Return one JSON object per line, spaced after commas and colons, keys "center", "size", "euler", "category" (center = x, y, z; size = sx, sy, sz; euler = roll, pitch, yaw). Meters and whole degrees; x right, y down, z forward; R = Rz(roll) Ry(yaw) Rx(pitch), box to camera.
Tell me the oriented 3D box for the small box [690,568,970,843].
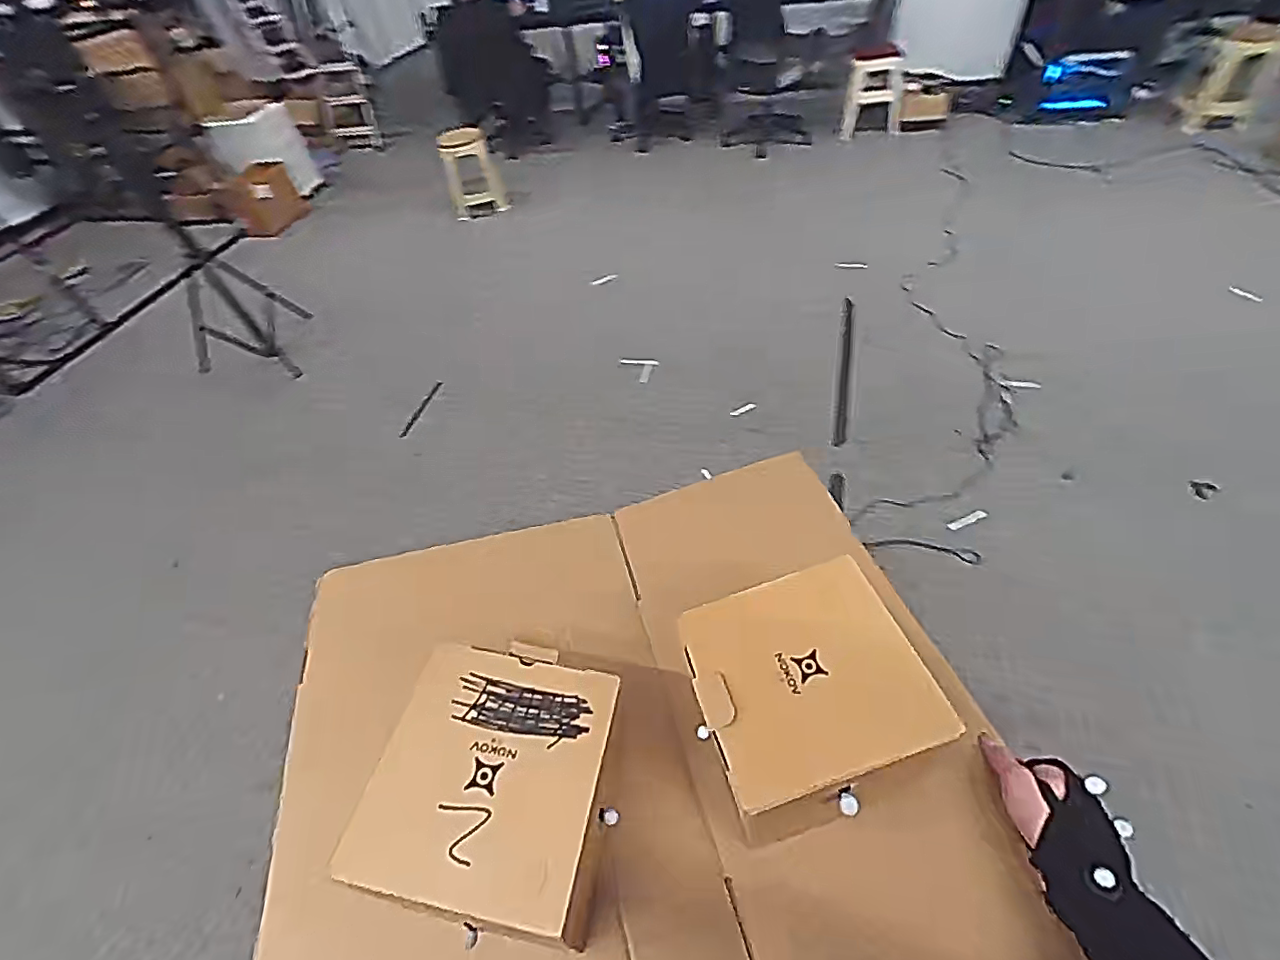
{"center": [0.161, 0.215, 0.511], "size": [0.179, 0.176, 0.168], "euler": [-19, 47, -1], "category": "small box"}
